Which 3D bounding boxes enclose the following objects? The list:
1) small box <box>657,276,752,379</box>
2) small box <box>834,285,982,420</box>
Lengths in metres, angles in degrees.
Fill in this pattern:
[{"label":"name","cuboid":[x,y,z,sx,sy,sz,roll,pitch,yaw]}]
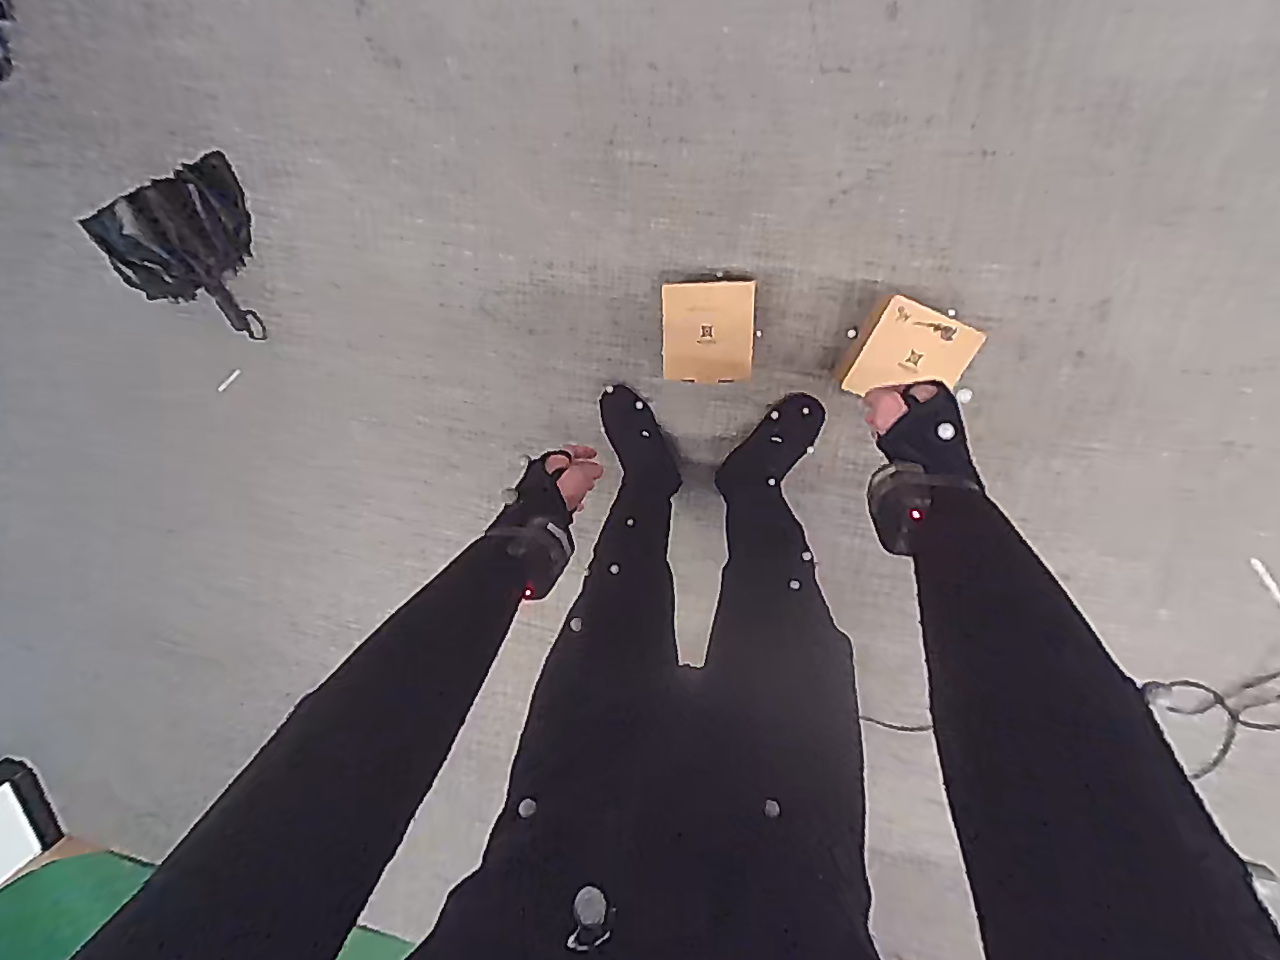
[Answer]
[{"label":"small box","cuboid":[0.129,-0.297,1.041,0.168,0.176,0.179,1,110,12]},{"label":"small box","cuboid":[0.469,-0.238,0.981,0.168,0.176,0.179,26,115,3]}]
